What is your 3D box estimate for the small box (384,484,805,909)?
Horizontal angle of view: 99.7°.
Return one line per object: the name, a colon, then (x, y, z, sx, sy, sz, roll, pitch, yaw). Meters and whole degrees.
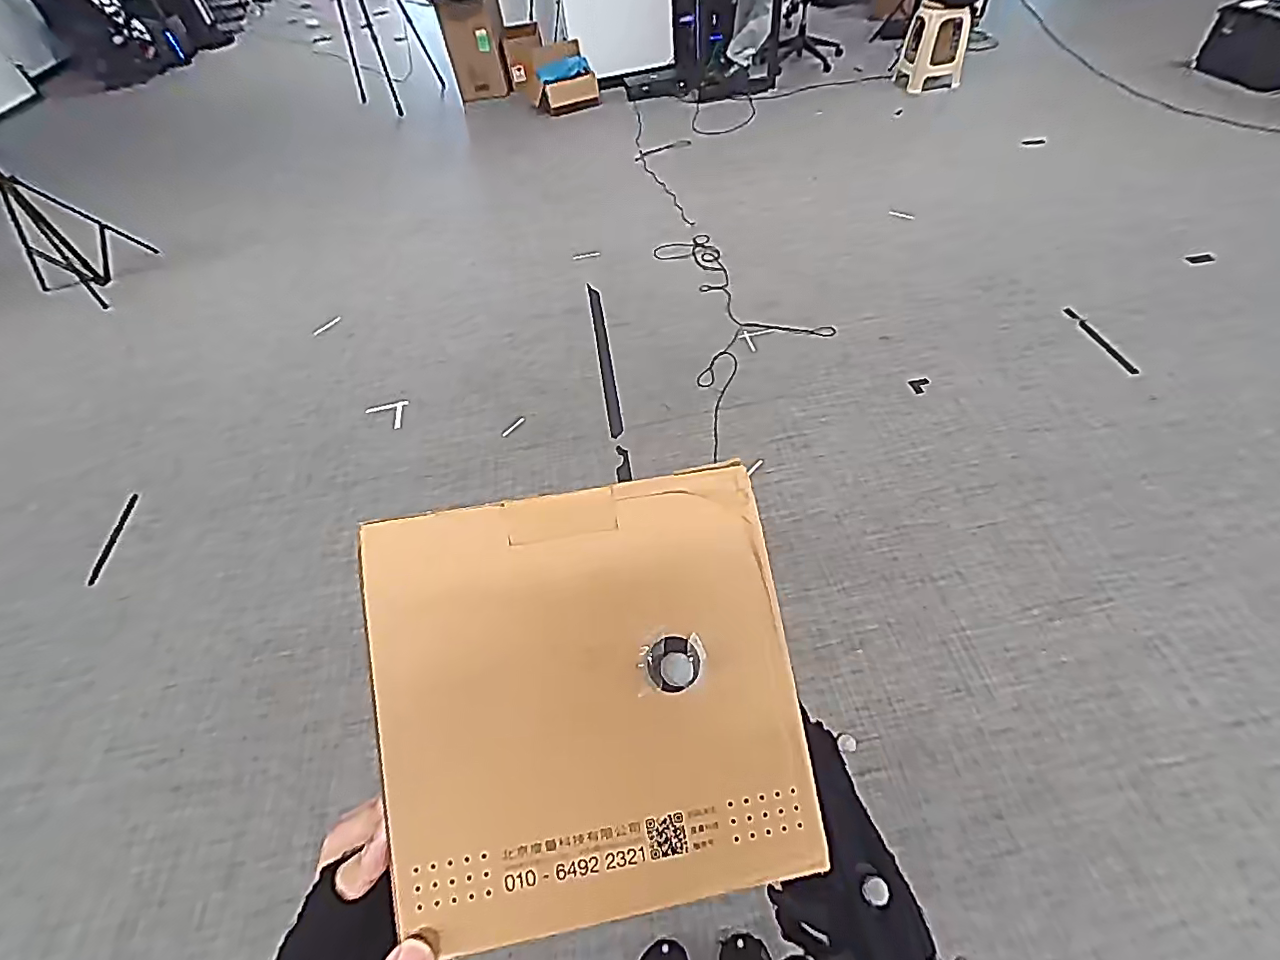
small box: (-0.021, 0.108, 0.313, 0.168, 0.179, 0.176, -9, 82, -3)
